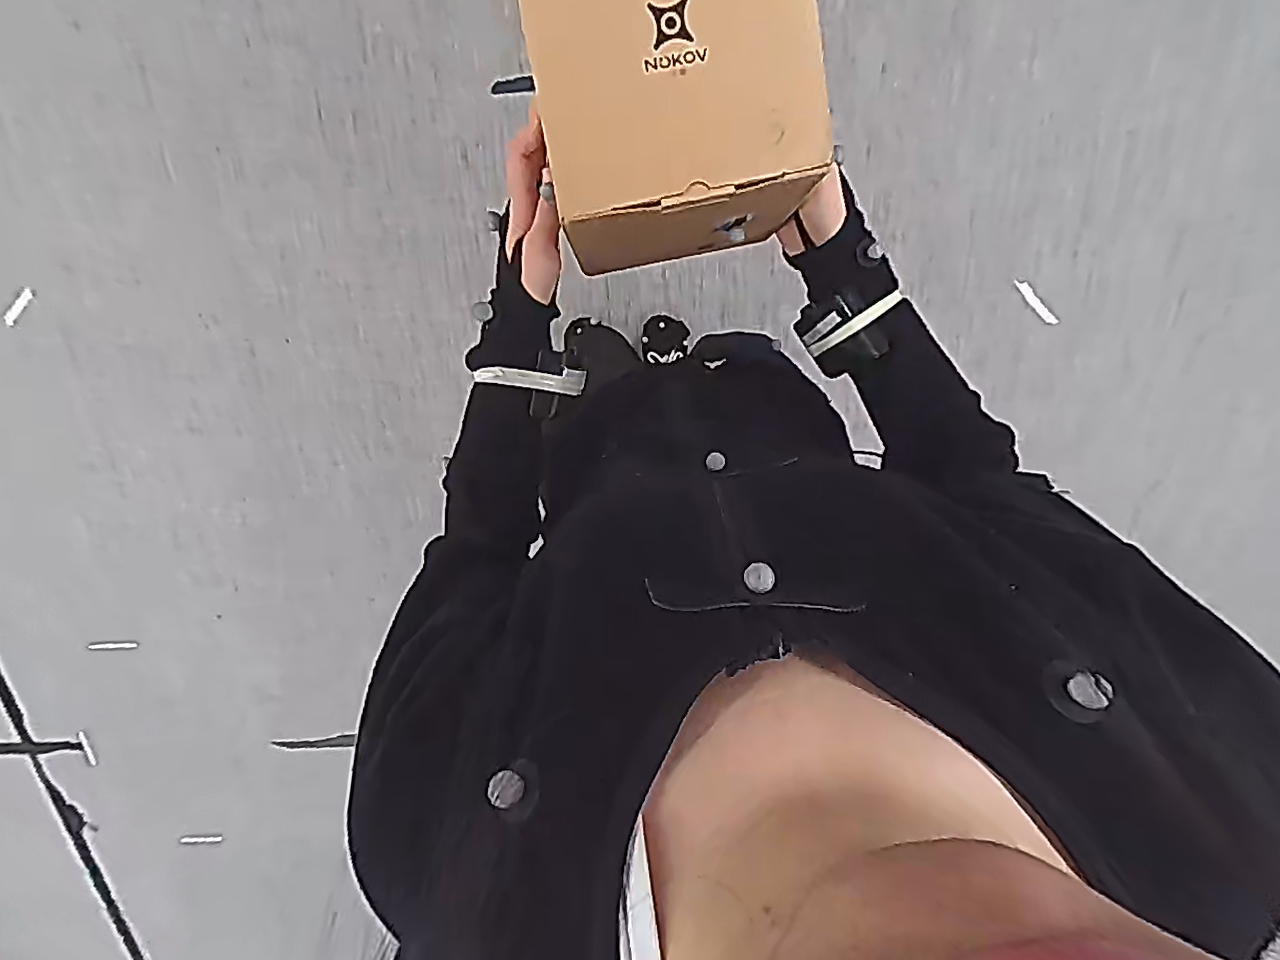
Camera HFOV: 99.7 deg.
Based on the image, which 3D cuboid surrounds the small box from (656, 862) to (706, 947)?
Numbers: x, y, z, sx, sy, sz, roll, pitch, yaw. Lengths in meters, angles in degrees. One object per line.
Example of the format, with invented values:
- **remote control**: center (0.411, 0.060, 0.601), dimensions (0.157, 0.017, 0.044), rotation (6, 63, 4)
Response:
- **small box**: center (0.139, 1.476, 1.883), dimensions (0.168, 0.176, 0.179), rotation (-2, 108, 1)
